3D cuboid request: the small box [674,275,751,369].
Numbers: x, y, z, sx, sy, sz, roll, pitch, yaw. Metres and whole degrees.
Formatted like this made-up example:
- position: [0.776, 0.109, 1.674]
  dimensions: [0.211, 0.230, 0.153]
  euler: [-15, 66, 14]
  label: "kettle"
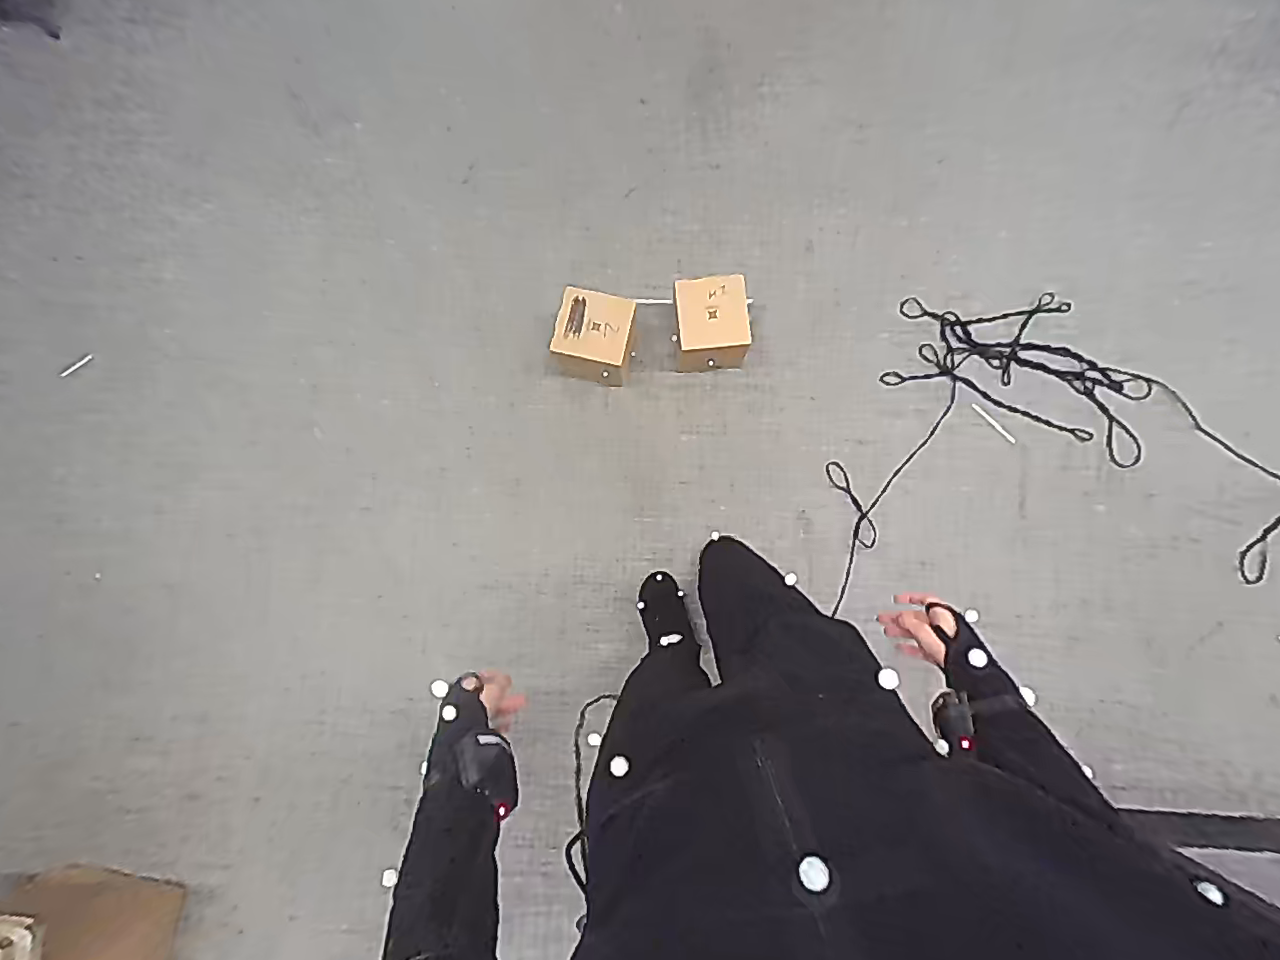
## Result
- position: [0.174, -0.383, 1.343]
  dimensions: [0.168, 0.176, 0.179]
  euler: [-5, 82, 1]
  label: "small box"
